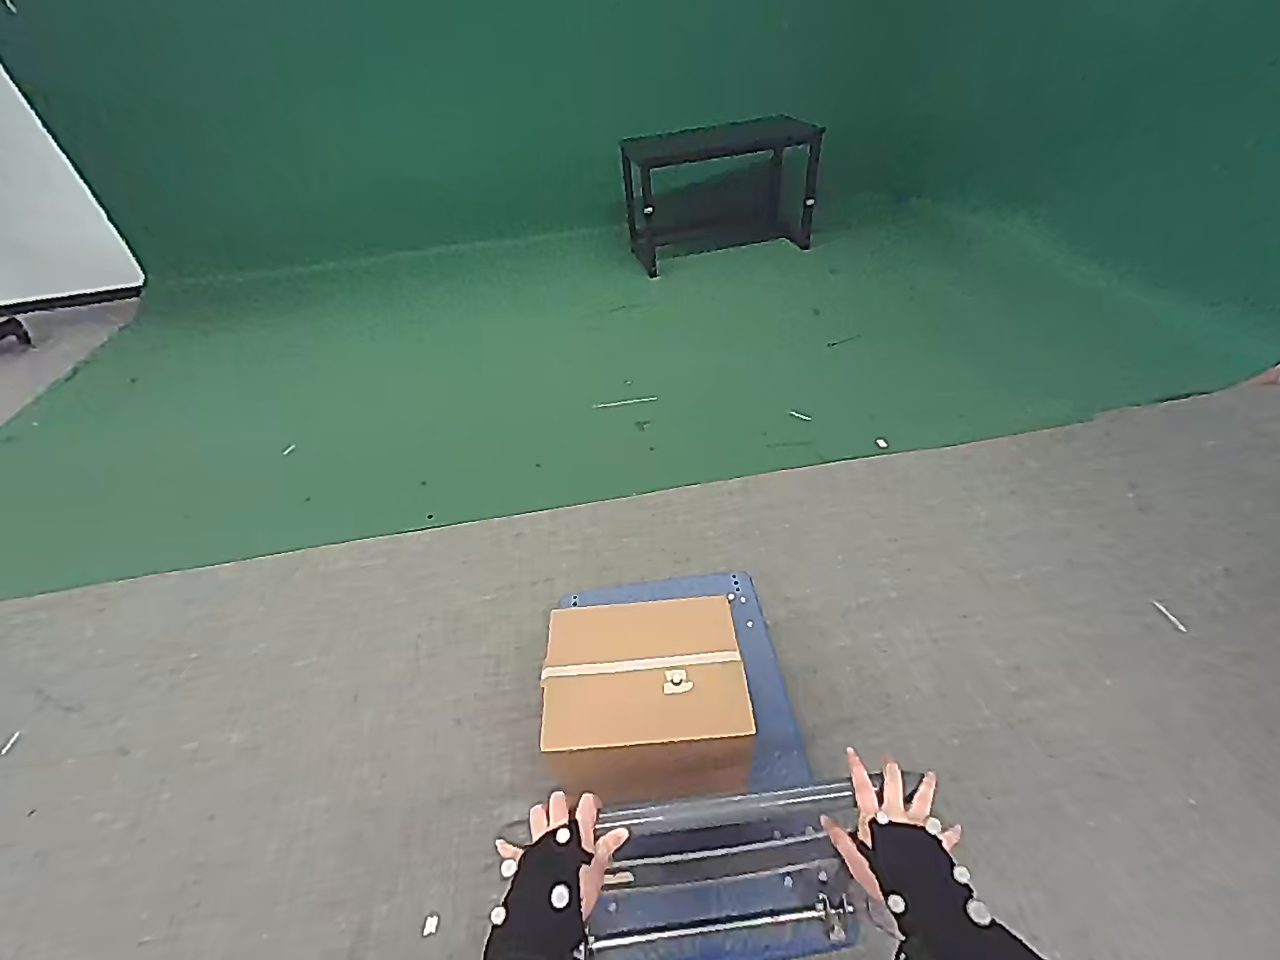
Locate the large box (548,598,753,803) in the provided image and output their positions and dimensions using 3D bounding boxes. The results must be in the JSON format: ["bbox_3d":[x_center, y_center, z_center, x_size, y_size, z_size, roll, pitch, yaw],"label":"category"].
[{"bbox_3d":[0.018,0.502,1.233,0.408,0.320,0.320,-4,42,0],"label":"large box"}]
